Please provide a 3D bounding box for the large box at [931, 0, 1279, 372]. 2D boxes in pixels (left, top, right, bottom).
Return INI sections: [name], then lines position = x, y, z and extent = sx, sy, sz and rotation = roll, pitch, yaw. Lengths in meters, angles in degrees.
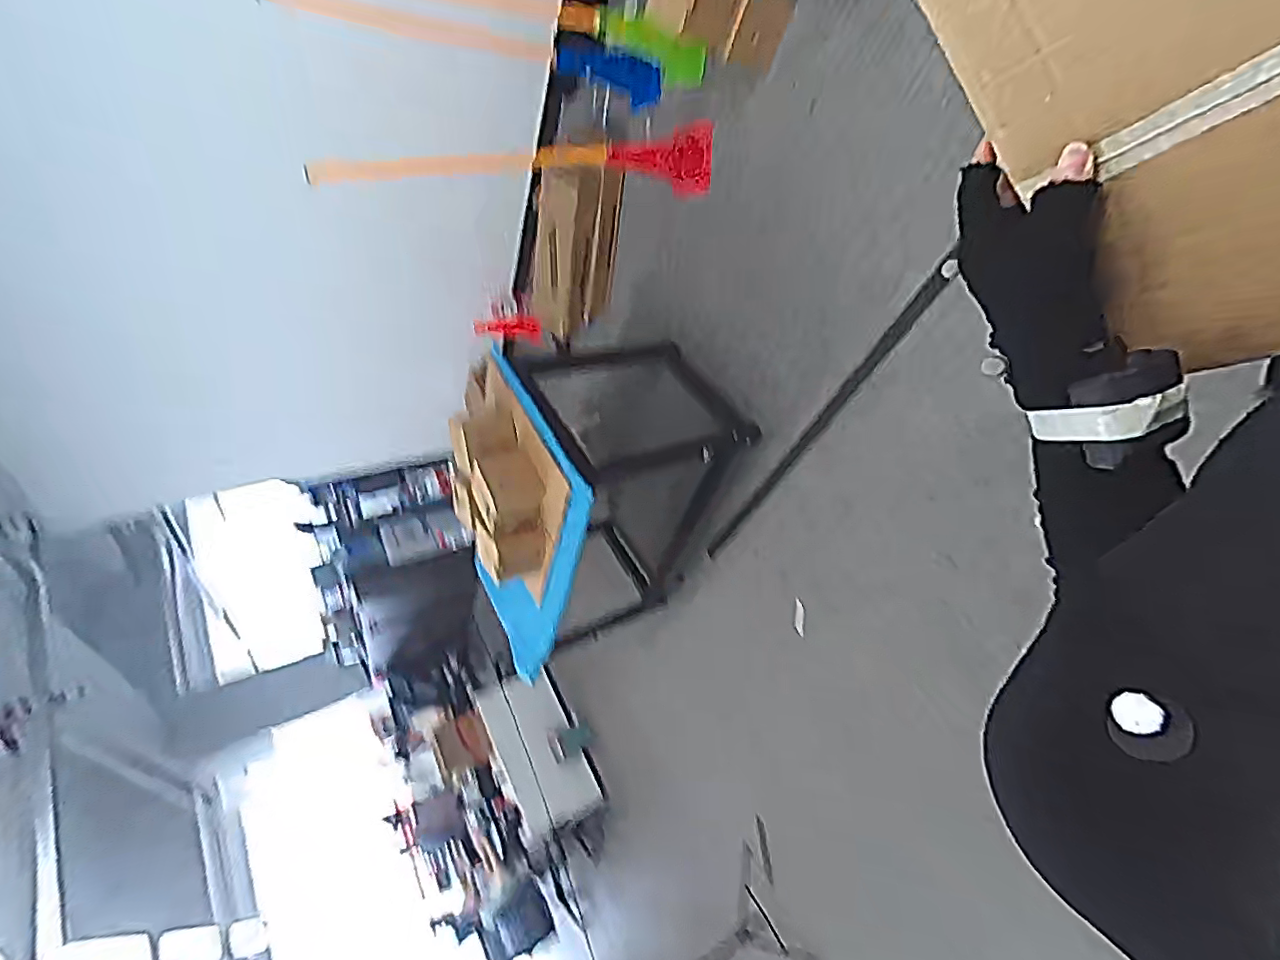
[large box]
position = 0.434, -0.308, 0.239
extent = 0.320, 0.320, 0.408
rotation = 47, 154, -17
